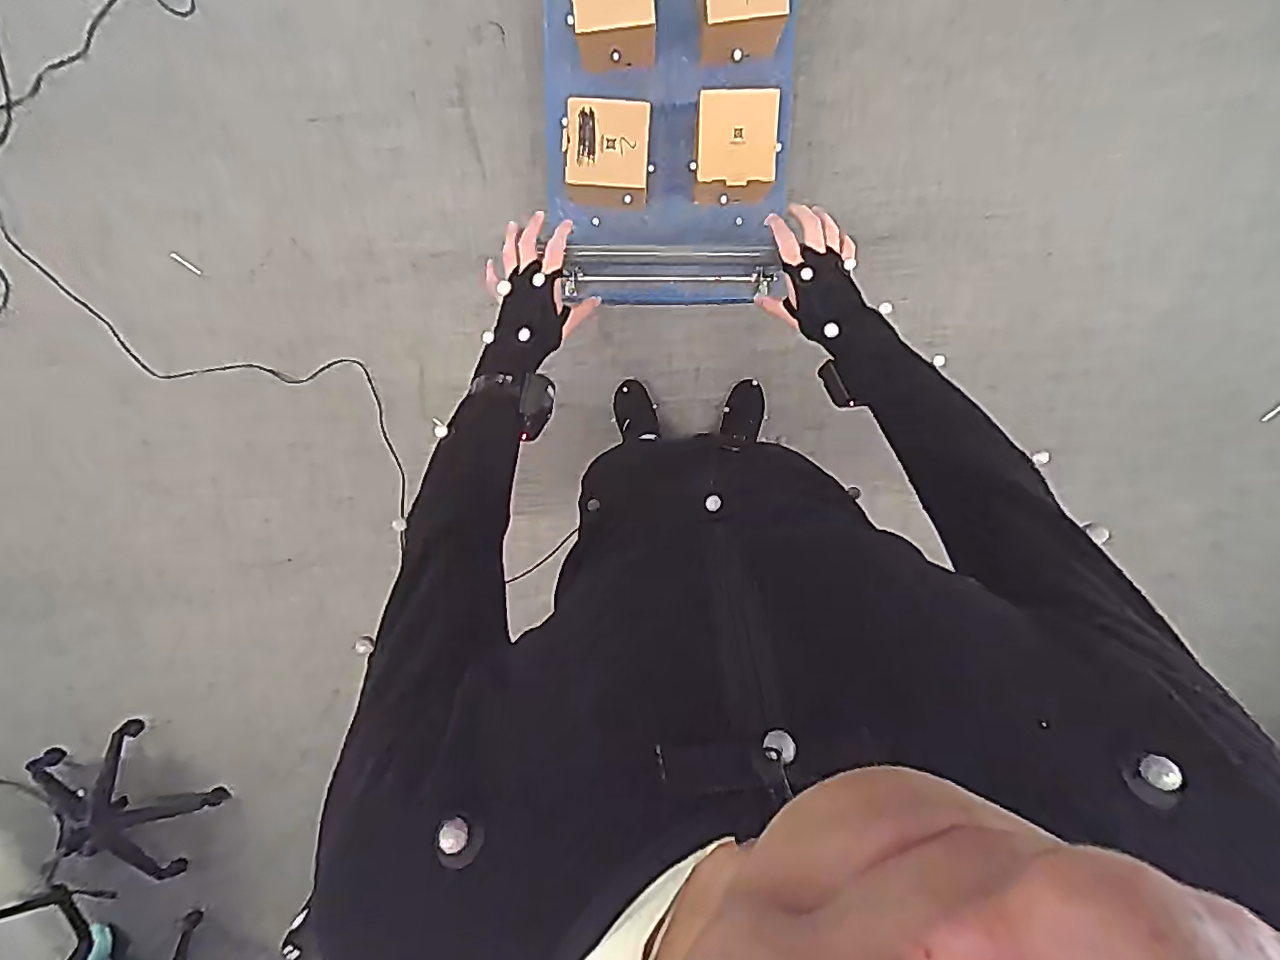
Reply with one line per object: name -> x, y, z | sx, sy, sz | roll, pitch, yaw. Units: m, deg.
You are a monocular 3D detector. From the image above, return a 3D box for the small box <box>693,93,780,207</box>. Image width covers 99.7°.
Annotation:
small box -> 0.209, -0.734, 1.215 | 0.168, 0.176, 0.179 | 0, 103, 1

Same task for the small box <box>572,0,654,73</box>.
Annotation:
small box -> -0.056, -1.009, 1.160 | 0.168, 0.176, 0.179 | -5, 102, 2

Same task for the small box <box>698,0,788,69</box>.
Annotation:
small box -> 0.213, -1.023, 1.151 | 0.168, 0.176, 0.179 | -4, 103, 3
